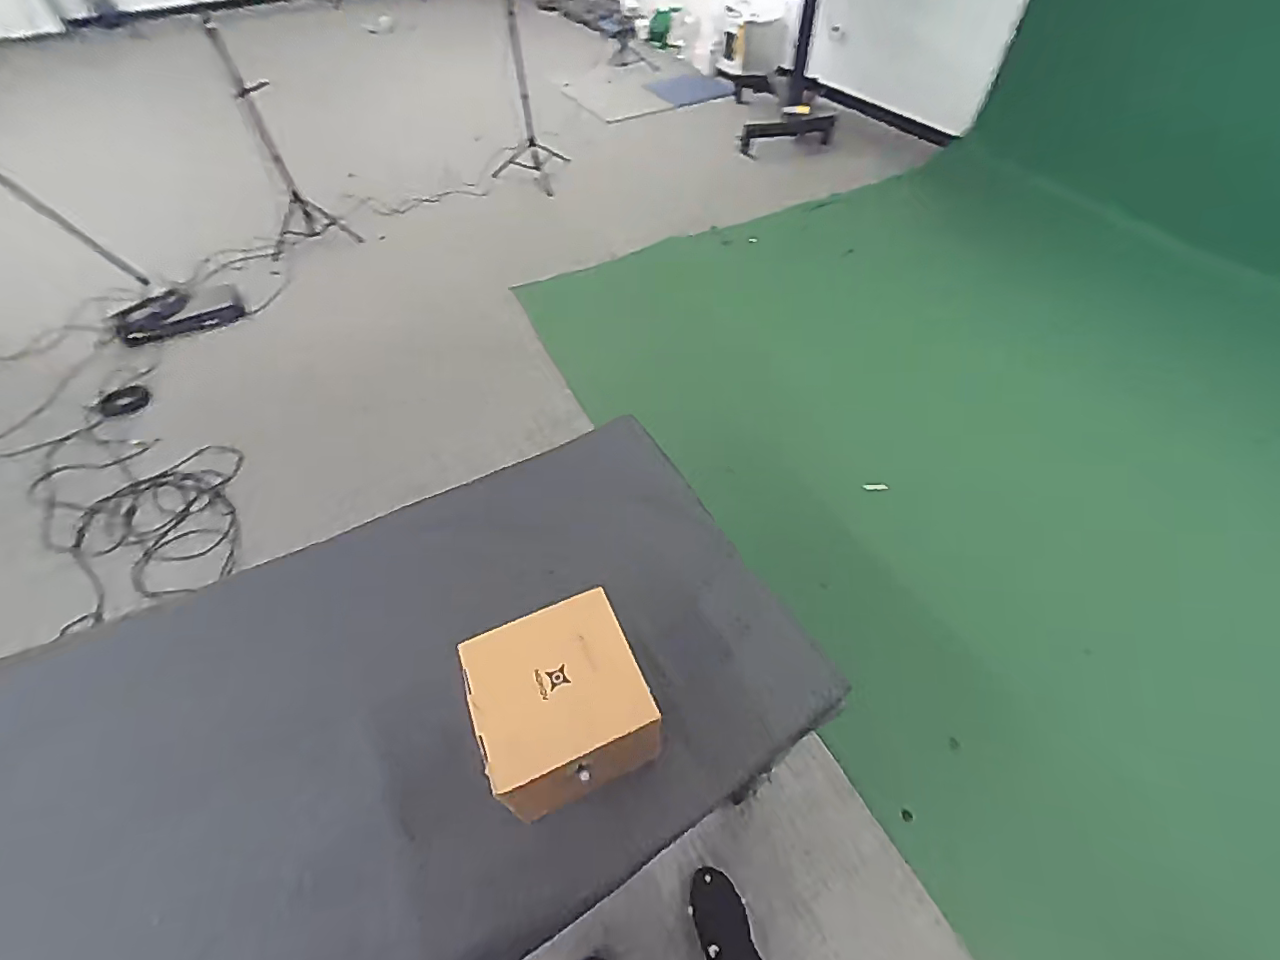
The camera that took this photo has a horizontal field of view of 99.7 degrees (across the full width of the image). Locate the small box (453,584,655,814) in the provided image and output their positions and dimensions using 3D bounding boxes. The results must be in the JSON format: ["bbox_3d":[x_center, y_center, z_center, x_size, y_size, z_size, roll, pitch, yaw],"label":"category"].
[{"bbox_3d":[-0.091,0.256,0.624,0.179,0.176,0.168,-20,54,-15],"label":"small box"}]
